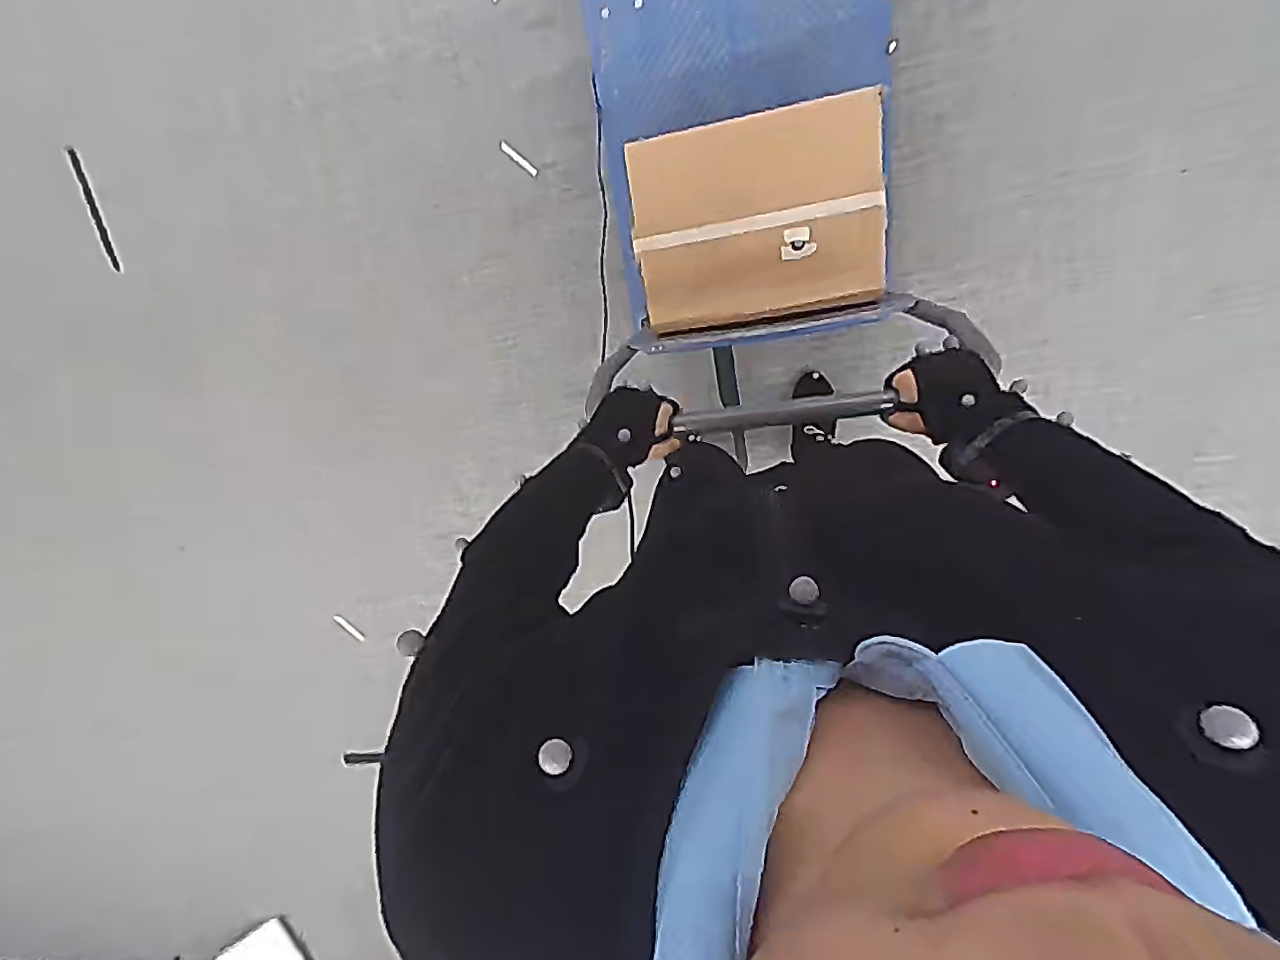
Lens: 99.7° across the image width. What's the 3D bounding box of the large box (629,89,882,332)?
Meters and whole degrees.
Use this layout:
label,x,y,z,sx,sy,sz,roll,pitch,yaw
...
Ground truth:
label,x,y,z,sx,sy,sz,roll,pitch,yaw
large box,0.220,-0.489,1.060,0.408,0.320,0.320,-6,109,12
